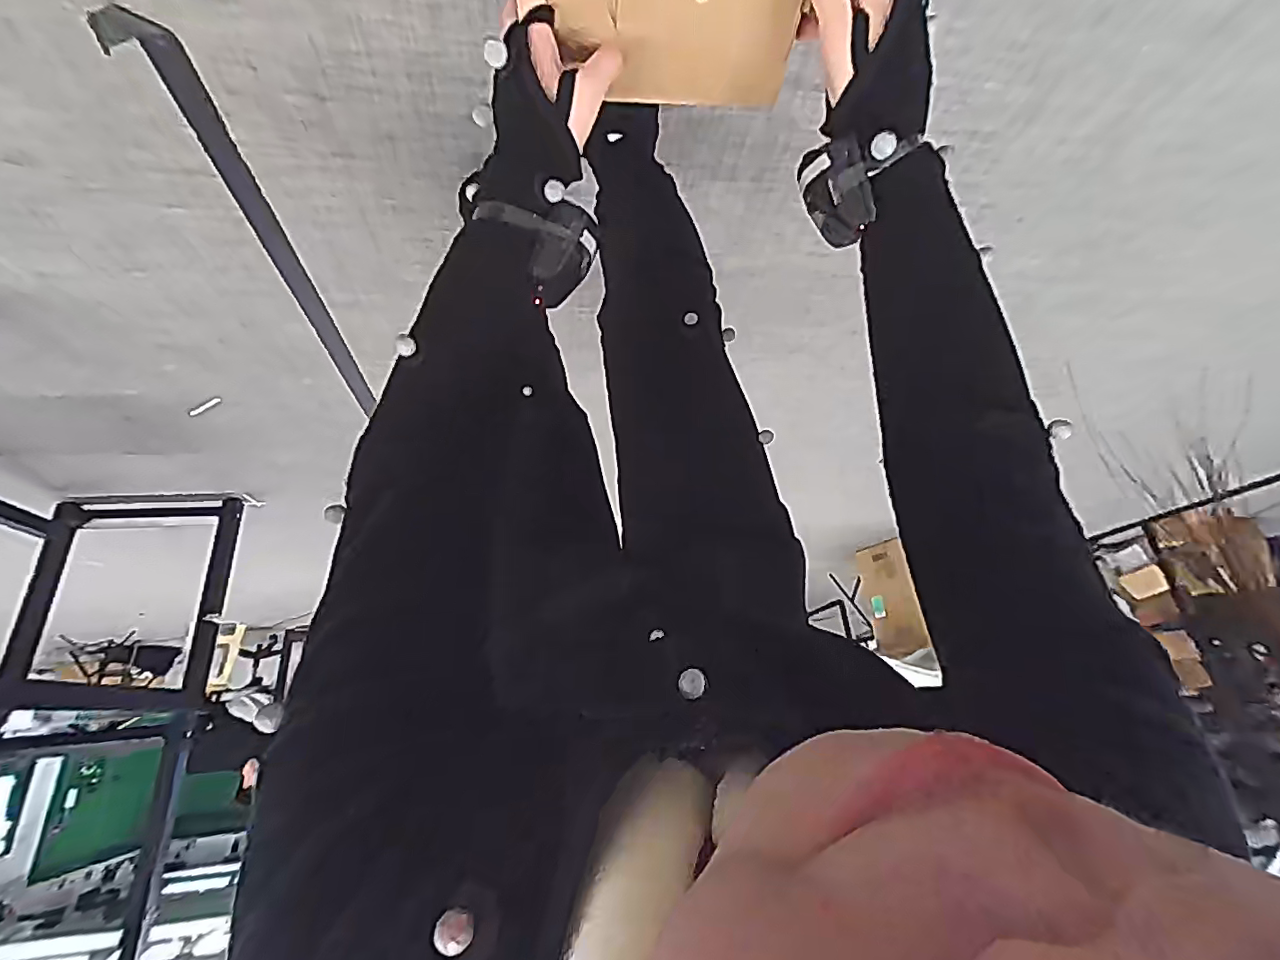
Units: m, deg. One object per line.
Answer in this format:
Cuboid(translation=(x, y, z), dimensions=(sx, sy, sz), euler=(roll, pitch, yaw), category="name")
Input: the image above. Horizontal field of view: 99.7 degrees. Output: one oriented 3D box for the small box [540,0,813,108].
Cuboid(translation=(0.020, -0.385, 0.360), dimensions=(0.179, 0.176, 0.168), euler=(-3, 153, -8), category="small box")
